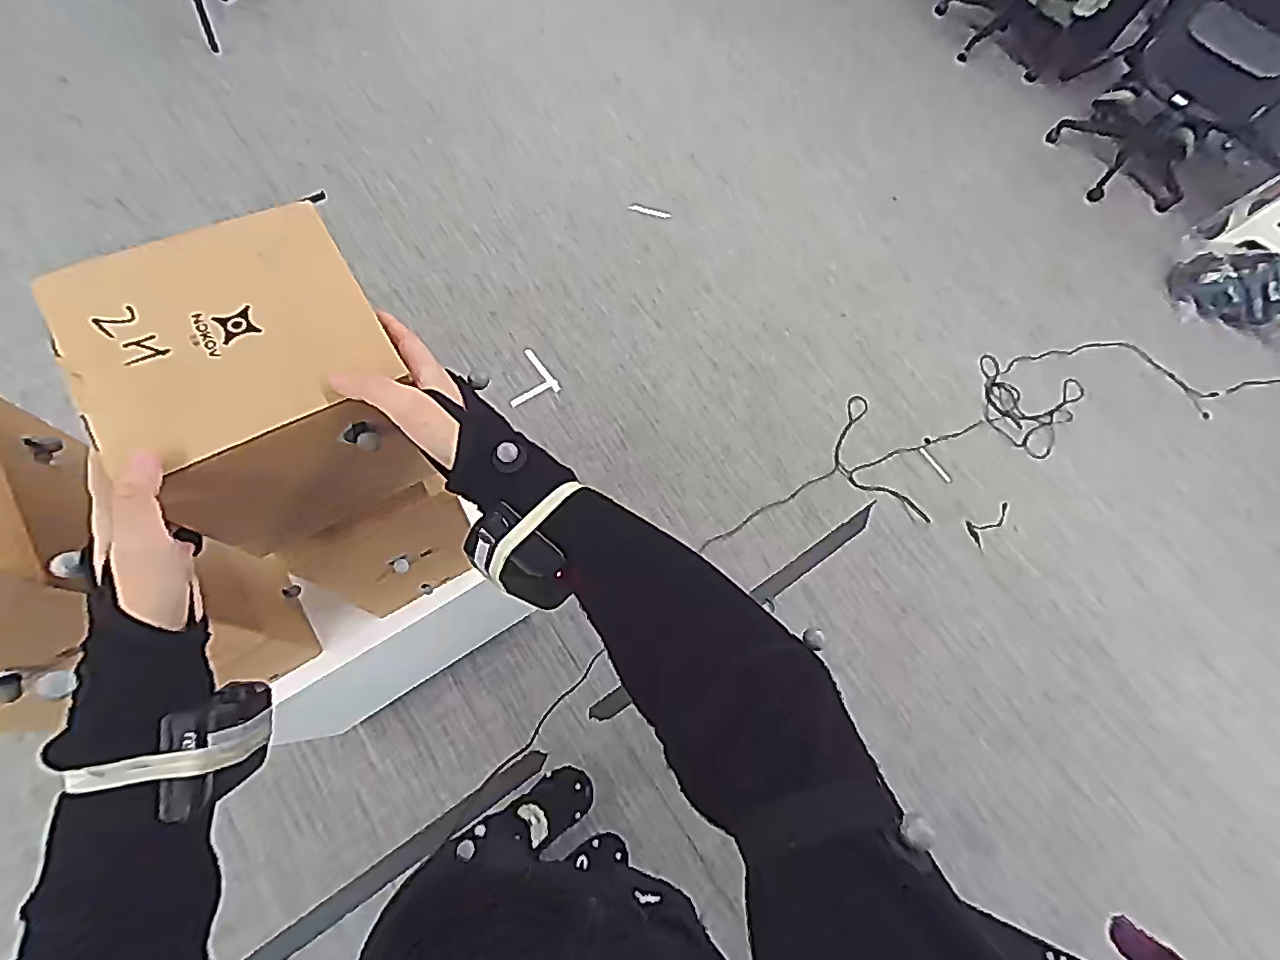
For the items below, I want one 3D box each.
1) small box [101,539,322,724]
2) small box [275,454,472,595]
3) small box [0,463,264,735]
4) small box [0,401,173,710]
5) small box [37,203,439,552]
[{"bbox_3d":[-0.538,0.180,0.672,0.168,0.176,0.179,-31,74,-18],"label":"small box"},{"bbox_3d":[-0.307,0.004,0.600,0.168,0.176,0.179,-29,76,-18],"label":"small box"},{"bbox_3d":[-0.513,0.119,0.523,0.168,0.176,0.179,-32,75,-19],"label":"small box"},{"bbox_3d":[-0.490,0.055,0.376,0.168,0.176,0.179,-32,76,-18],"label":"small box"},{"bbox_3d":[-0.275,-0.068,0.420,0.179,0.176,0.168,-30,76,-18],"label":"small box"}]
